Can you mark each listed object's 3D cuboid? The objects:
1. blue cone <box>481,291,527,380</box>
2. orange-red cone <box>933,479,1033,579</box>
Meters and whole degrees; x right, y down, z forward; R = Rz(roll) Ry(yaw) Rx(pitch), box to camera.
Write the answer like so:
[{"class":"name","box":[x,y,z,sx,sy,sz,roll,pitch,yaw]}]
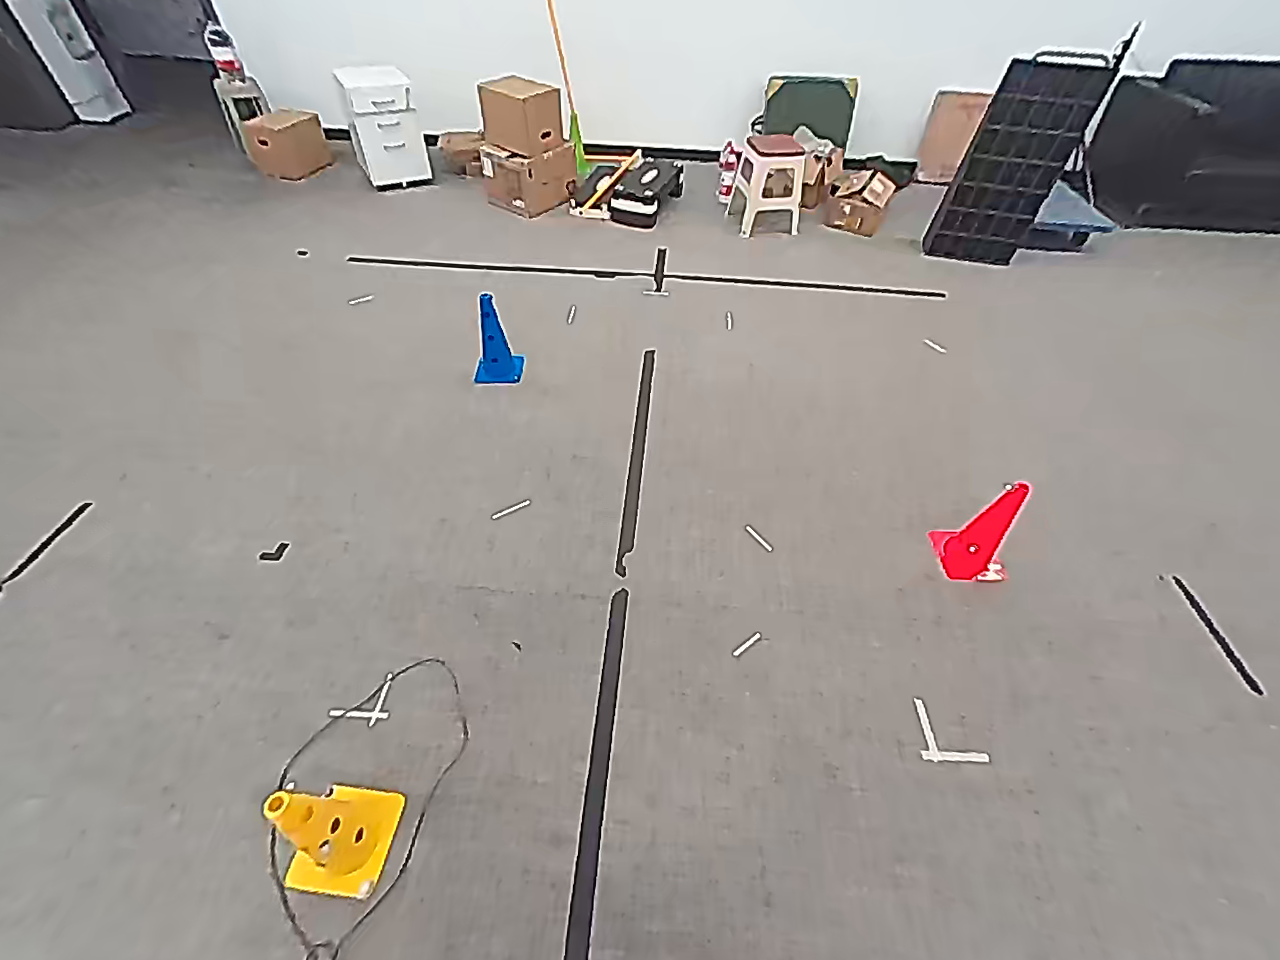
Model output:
[{"class":"blue cone","box":[-0.600,-0.617,2.289,0.192,0.380,0.193,1,48,-2]},{"class":"orange-red cone","box":[1.107,0.127,1.686,0.198,0.360,0.199,2,46,-2]}]
